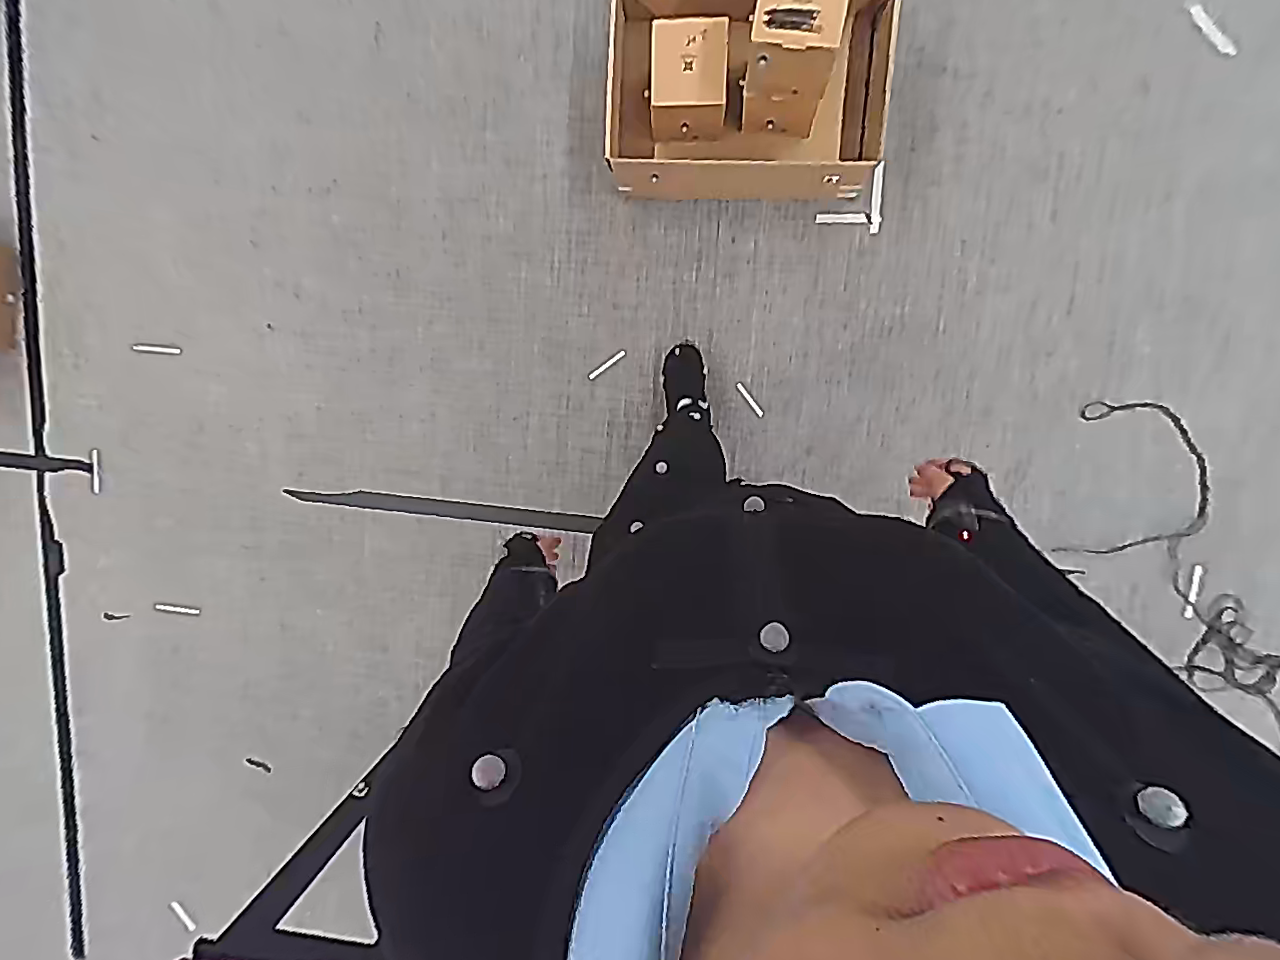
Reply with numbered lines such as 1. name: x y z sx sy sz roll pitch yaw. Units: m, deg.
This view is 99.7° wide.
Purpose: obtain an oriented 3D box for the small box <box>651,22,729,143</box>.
1. small box: 0.114 -0.907 1.251 0.168 0.176 0.179 2 97 3

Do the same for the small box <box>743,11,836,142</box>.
1. small box: 0.330 -0.911 1.231 0.168 0.176 0.179 9 98 7
